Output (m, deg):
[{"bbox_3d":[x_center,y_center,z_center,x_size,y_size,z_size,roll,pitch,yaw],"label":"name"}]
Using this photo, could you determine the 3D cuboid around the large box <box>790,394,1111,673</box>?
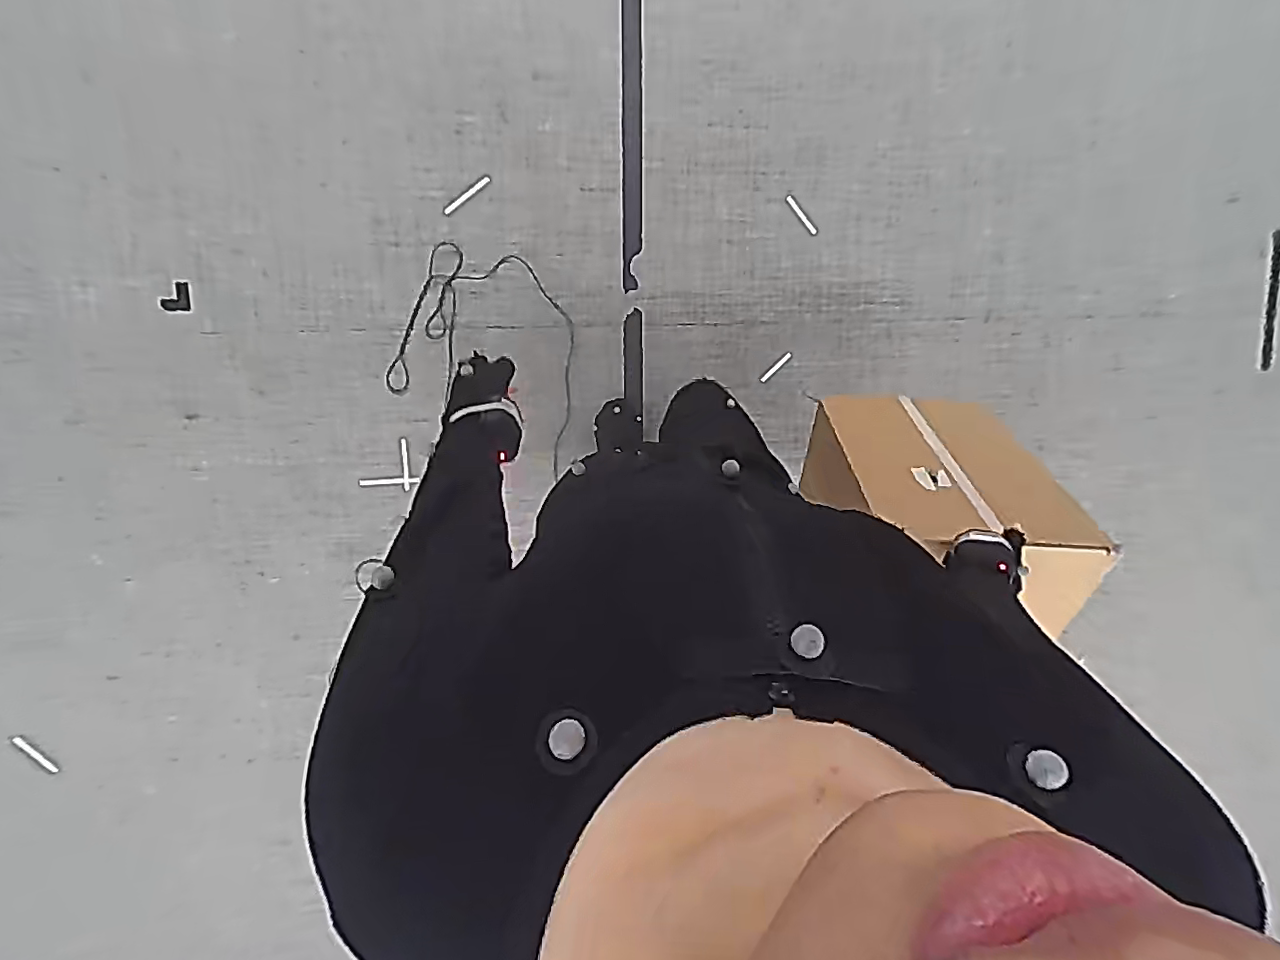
[{"bbox_3d":[0.488,0.082,0.979,0.320,0.408,0.320,2,129,1],"label":"large box"}]
